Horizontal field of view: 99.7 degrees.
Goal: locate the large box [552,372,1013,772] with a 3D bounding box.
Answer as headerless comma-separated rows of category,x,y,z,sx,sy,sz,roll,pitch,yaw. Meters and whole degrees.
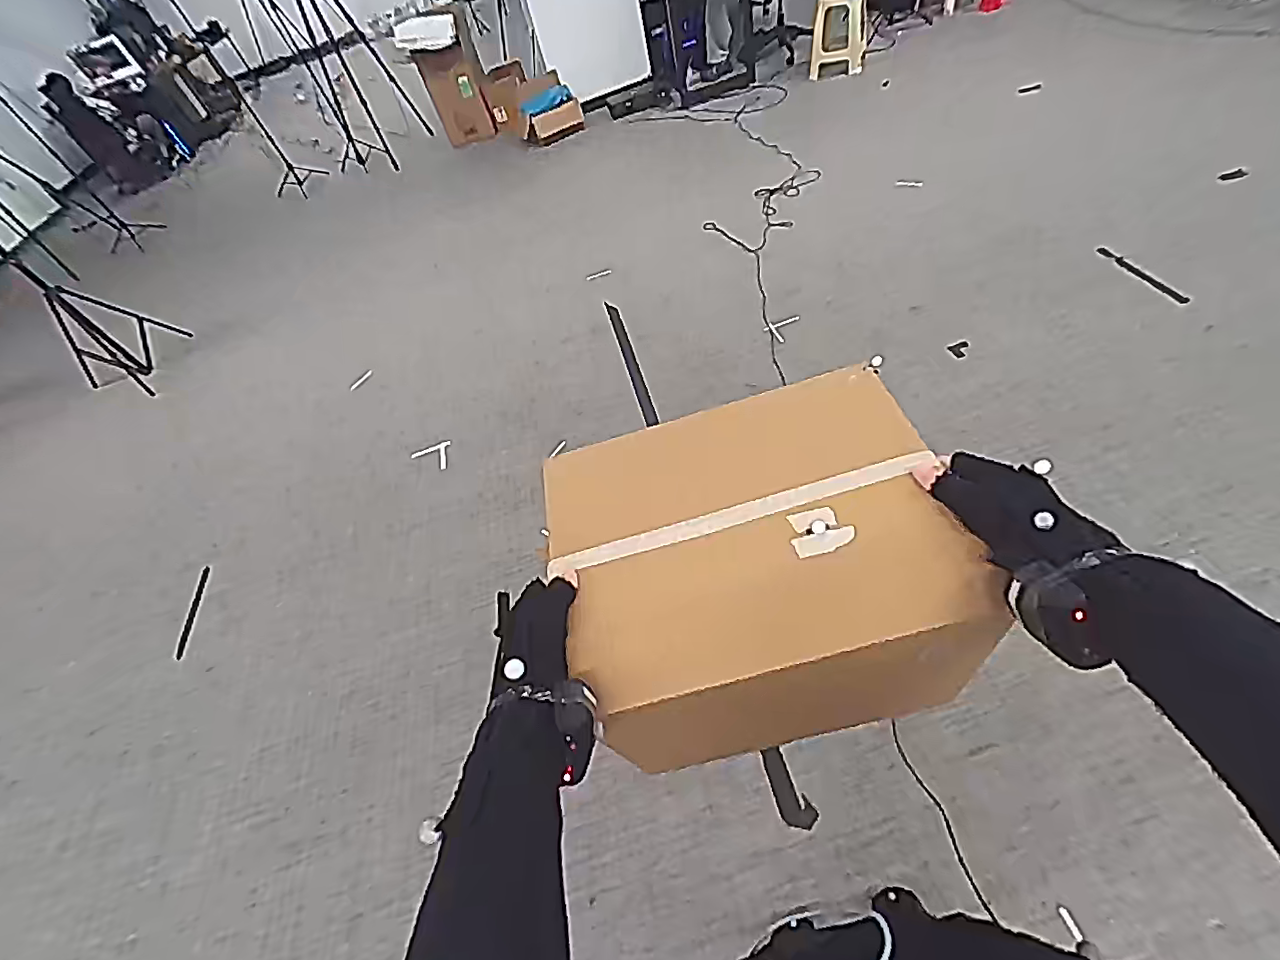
large box,0.139,0.129,0.682,0.408,0.320,0.320,-16,52,4
